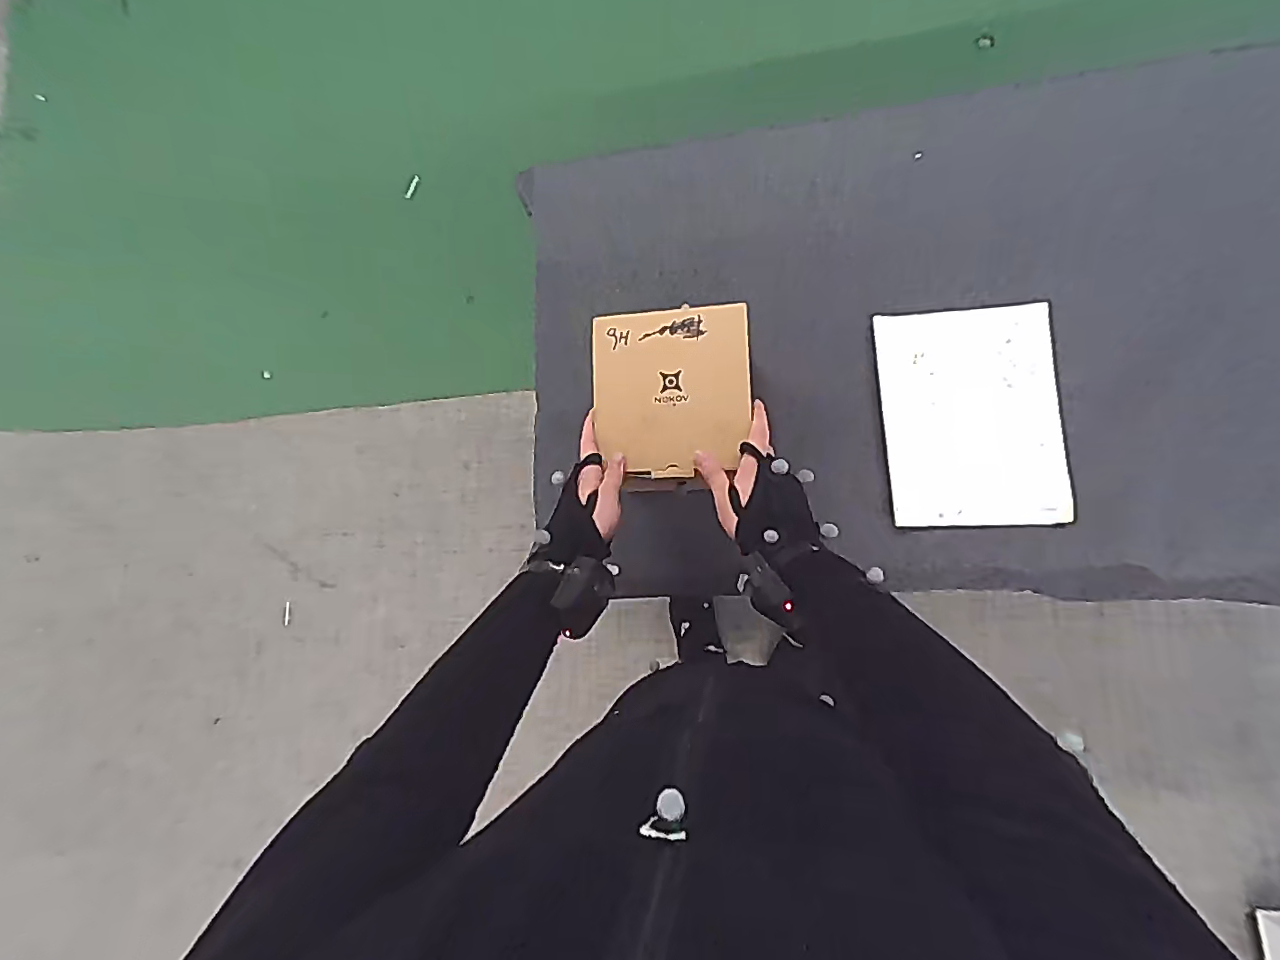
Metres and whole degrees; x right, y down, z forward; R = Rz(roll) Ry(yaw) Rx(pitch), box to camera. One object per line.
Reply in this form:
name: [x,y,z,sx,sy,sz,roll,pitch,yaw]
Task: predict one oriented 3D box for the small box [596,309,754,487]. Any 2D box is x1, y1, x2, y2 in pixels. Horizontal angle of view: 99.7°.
small box: [0.049,-0.082,0.642,0.168,0.176,0.179,-3,85,9]
